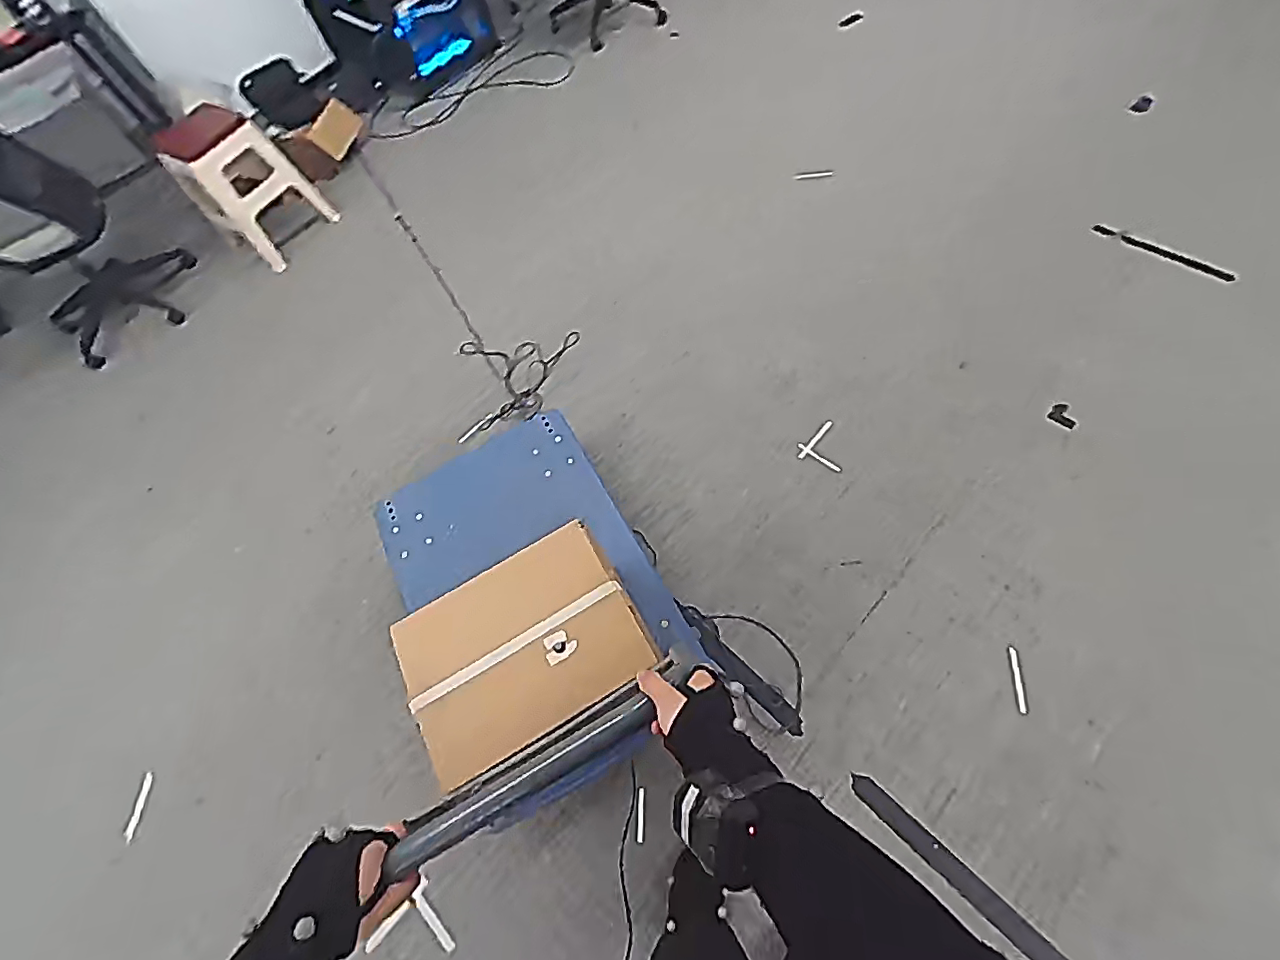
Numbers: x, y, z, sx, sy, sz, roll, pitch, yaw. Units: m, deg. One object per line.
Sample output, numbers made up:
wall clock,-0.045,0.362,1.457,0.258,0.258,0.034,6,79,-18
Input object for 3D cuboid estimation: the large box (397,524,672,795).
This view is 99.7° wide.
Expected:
large box,-0.190,0.363,1.089,0.408,0.320,0.320,-30,64,-7
